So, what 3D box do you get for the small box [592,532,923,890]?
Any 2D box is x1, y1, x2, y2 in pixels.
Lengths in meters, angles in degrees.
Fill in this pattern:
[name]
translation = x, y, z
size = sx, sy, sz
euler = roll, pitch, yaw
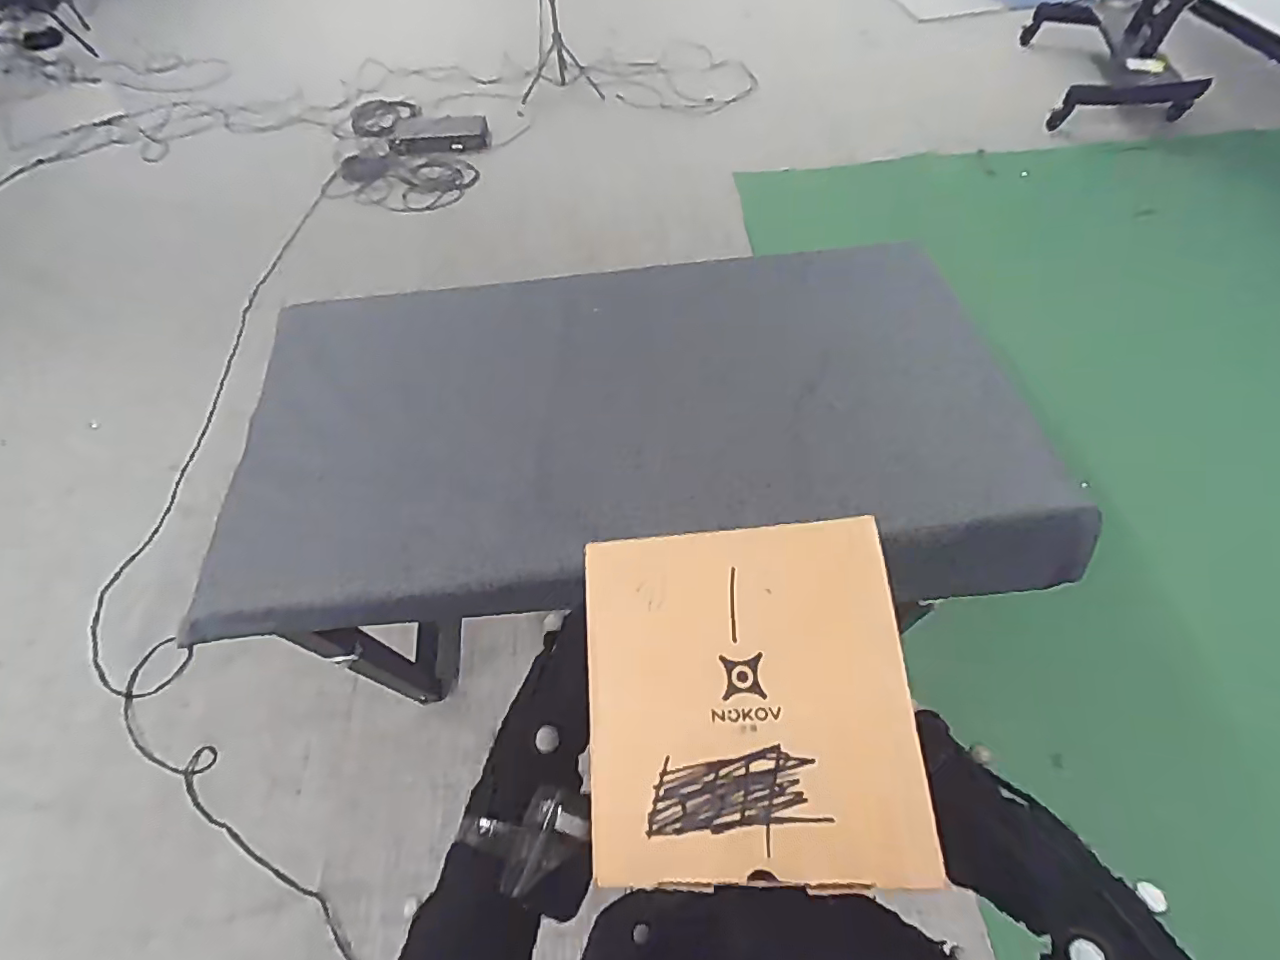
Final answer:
[small box]
translation = 0.068, 0.141, 0.369
size = 0.168, 0.176, 0.179
euler = -5, 72, 8
